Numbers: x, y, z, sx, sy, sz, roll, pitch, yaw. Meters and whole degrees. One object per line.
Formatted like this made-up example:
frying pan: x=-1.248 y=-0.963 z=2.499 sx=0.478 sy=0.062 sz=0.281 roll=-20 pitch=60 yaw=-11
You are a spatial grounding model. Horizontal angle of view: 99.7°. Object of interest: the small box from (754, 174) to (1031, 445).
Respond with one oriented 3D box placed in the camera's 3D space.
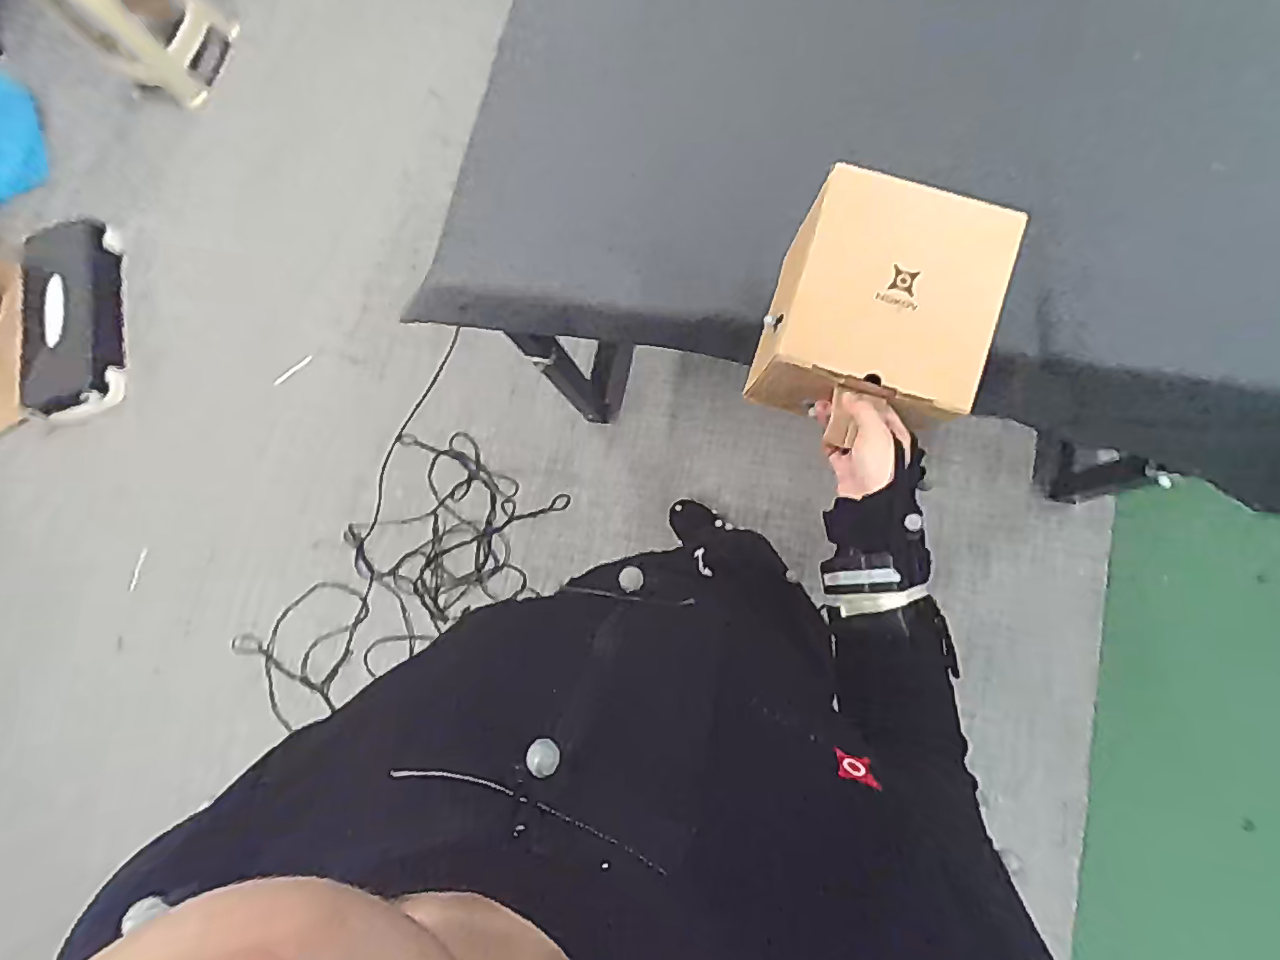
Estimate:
small box: x=0.222 y=-0.146 z=0.524 sx=0.168 sy=0.176 sz=0.179 roll=18 pitch=88 yaw=2
